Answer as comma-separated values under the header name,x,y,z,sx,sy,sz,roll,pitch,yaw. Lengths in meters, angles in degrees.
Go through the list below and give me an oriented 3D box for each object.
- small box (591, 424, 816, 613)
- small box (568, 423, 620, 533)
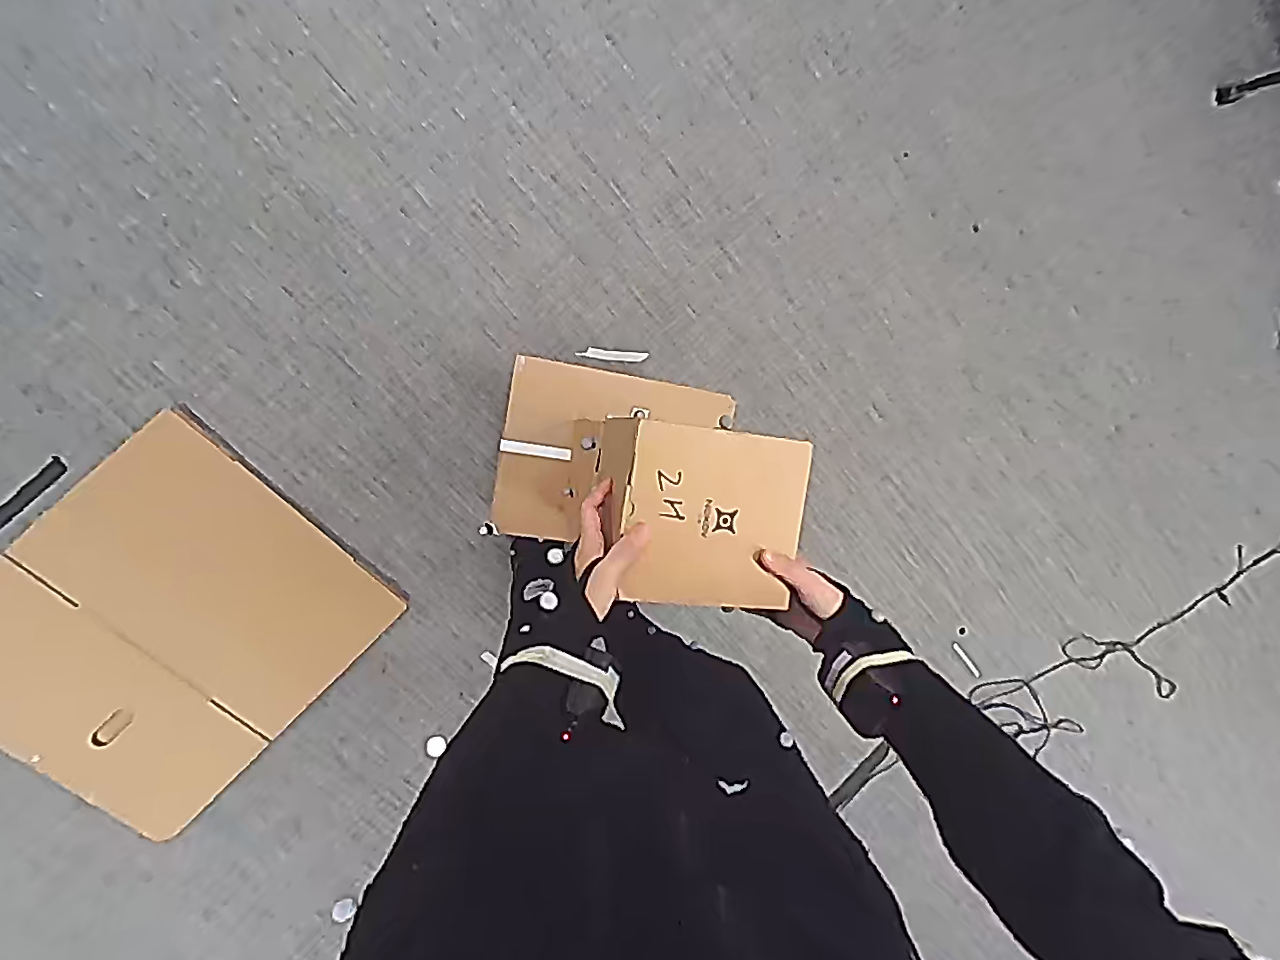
name,x,y,z,sx,sy,sz,roll,pitch,yaw
small box,0.055,0.032,0.574,0.179,0.176,0.168,7,94,-14
small box,-0.020,-0.001,0.892,0.179,0.176,0.168,6,94,-15
